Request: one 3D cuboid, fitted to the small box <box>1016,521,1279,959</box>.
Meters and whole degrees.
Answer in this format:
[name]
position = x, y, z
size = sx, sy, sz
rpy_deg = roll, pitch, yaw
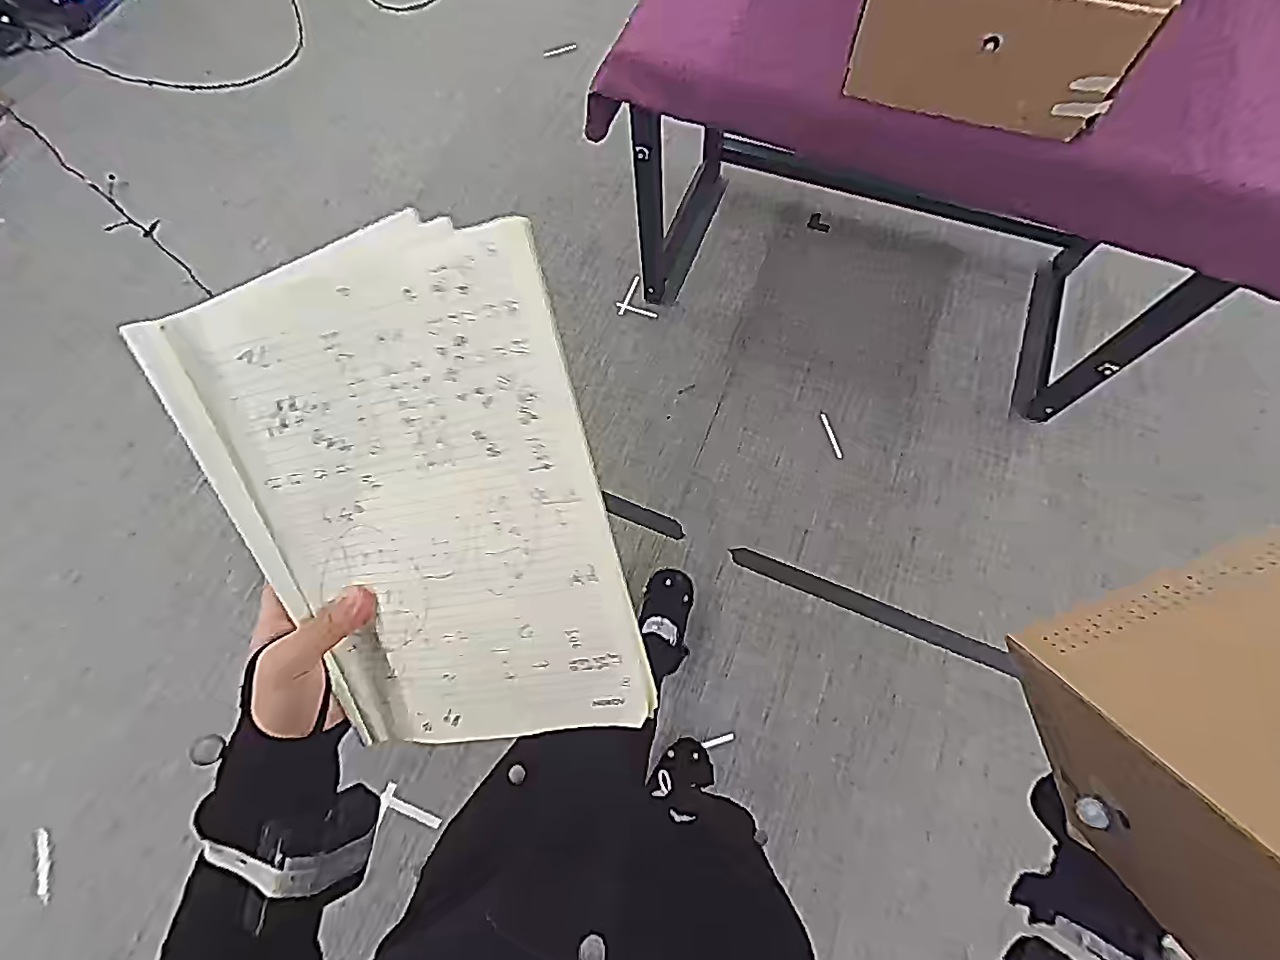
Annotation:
[small box]
position = 0.335, 0.139, 0.258
size = 0.179, 0.176, 0.168
rpy_deg = -26, 104, 6
